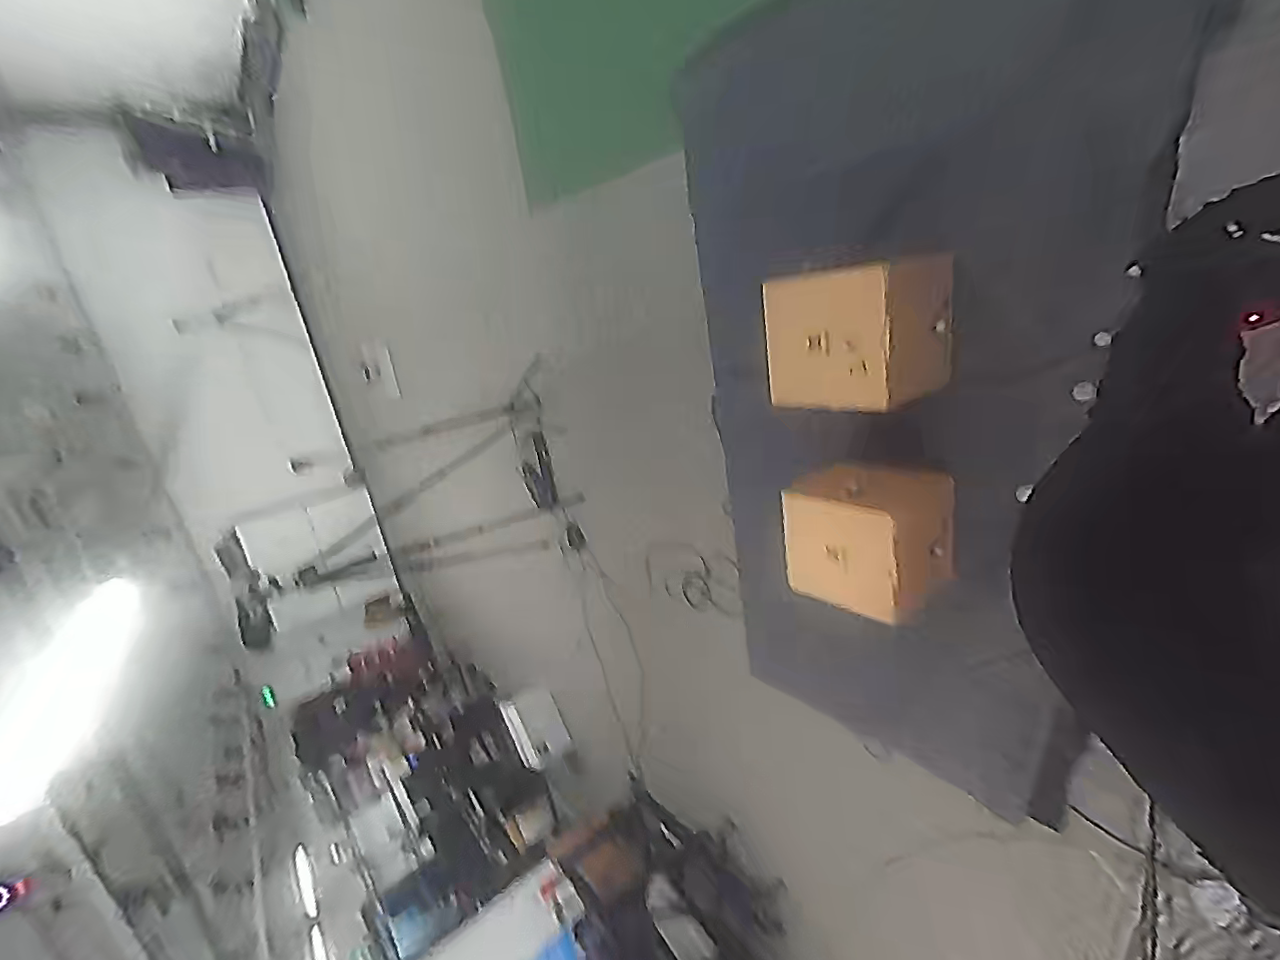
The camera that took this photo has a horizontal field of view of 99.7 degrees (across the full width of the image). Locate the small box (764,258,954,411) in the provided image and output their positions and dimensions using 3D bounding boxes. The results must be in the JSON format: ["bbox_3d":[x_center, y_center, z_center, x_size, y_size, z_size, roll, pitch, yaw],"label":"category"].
[{"bbox_3d":[0.294,-0.196,0.731,0.179,0.176,0.168,12,118,50],"label":"small box"}]

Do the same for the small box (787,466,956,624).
[{"bbox_3d":[0.348,0.084,0.818,0.179,0.176,0.168,12,117,50],"label":"small box"}]
